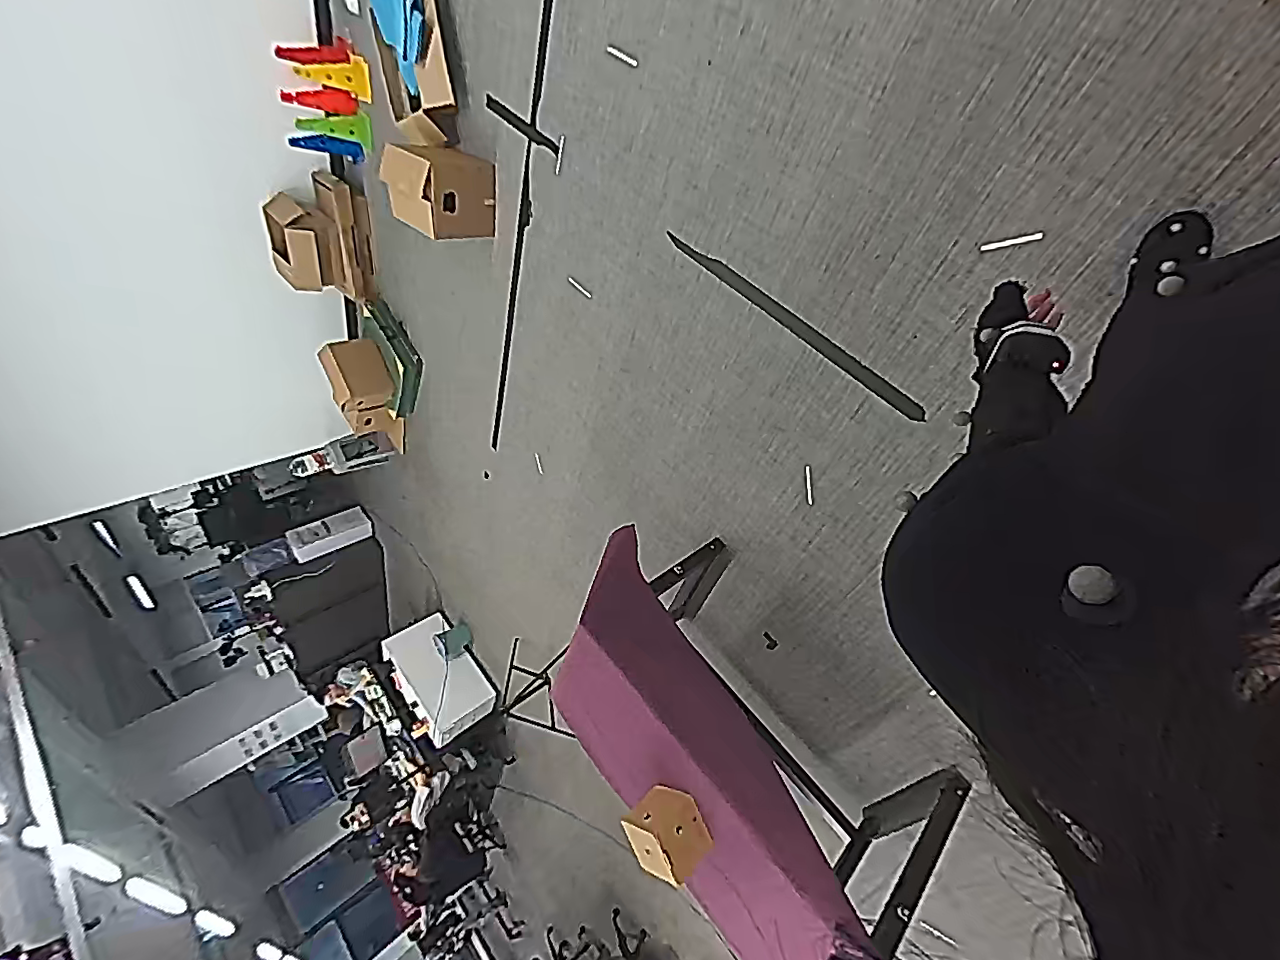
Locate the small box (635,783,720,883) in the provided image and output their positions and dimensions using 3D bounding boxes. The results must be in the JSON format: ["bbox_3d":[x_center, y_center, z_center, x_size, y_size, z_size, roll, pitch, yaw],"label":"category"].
[{"bbox_3d":[0.121,1.057,1.638,0.179,0.176,0.168,-24,90,53],"label":"small box"}]
